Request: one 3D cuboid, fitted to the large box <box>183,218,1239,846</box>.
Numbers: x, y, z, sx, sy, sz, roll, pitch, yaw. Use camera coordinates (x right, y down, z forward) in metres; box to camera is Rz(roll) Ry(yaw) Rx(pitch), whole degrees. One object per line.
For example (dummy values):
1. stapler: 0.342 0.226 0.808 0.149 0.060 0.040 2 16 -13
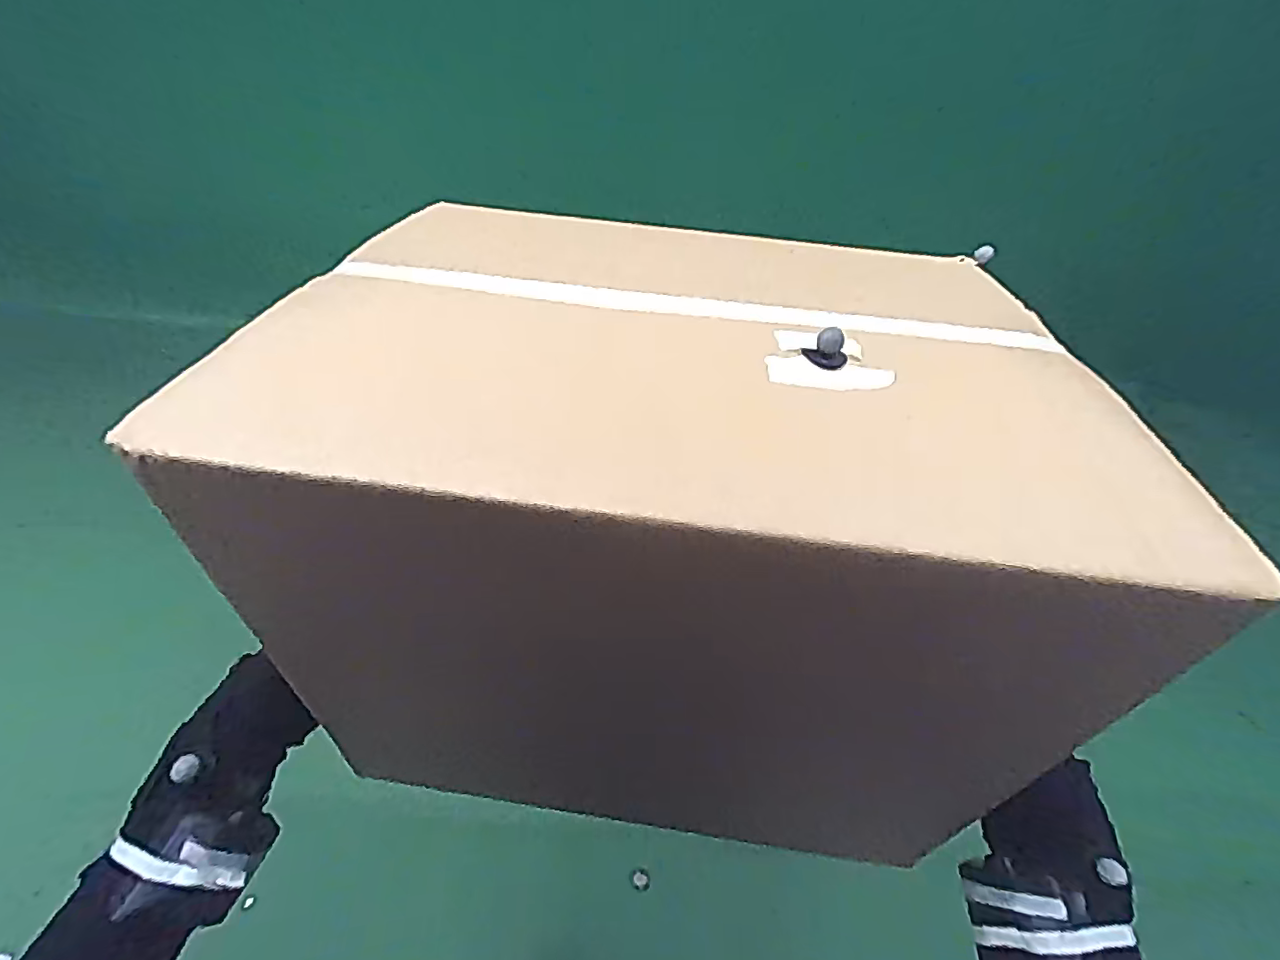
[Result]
1. large box: 0.024 0.027 0.407 0.408 0.320 0.320 8 42 3
